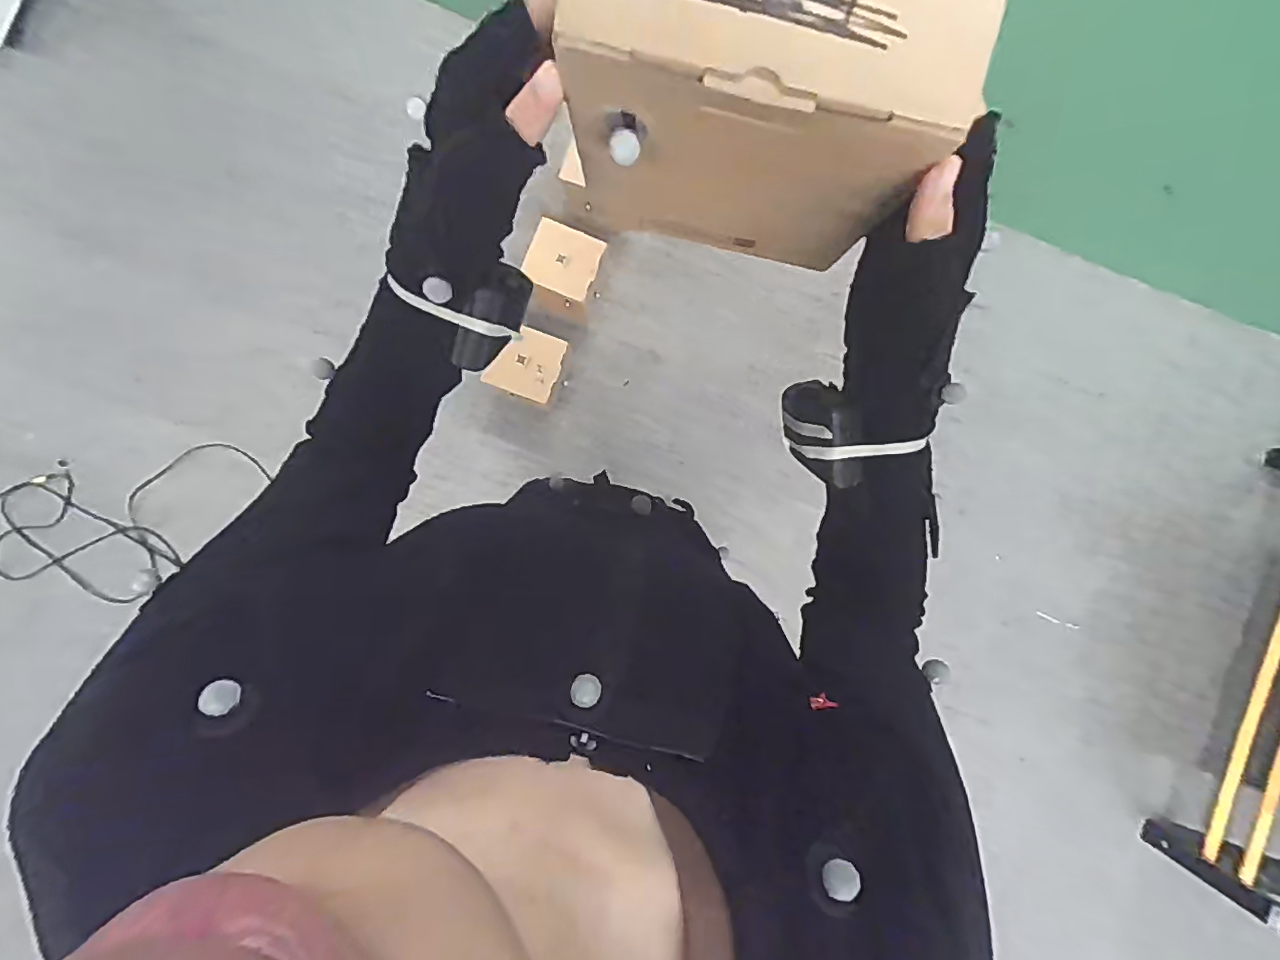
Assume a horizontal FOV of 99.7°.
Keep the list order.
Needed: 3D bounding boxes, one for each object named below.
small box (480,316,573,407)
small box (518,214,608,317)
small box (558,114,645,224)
[{"bbox_3d":[-0.286,-0.296,1.396,0.179,0.176,0.168,20,90,-2],"label":"small box"},{"bbox_3d":[-0.192,-0.547,1.406,0.179,0.176,0.168,22,88,-2],"label":"small box"},{"bbox_3d":[-0.098,-0.799,1.412,0.179,0.176,0.168,19,88,-1],"label":"small box"}]
